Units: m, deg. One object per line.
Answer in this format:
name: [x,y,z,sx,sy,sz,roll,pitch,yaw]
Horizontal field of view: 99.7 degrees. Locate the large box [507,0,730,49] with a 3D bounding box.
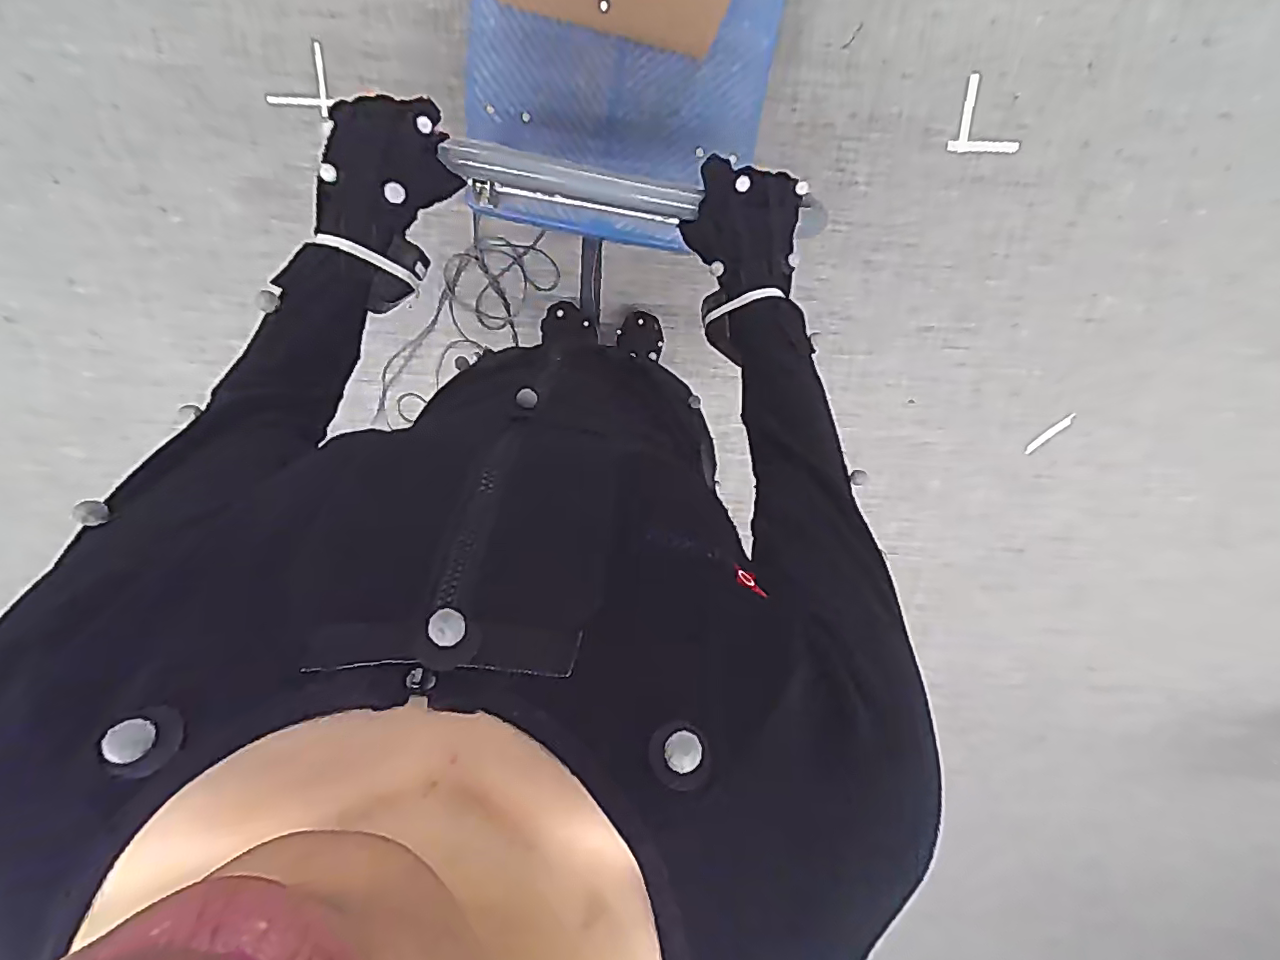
large box: [-0.028,-0.952,0.848,0.408,0.320,0.320,10,109,-6]
